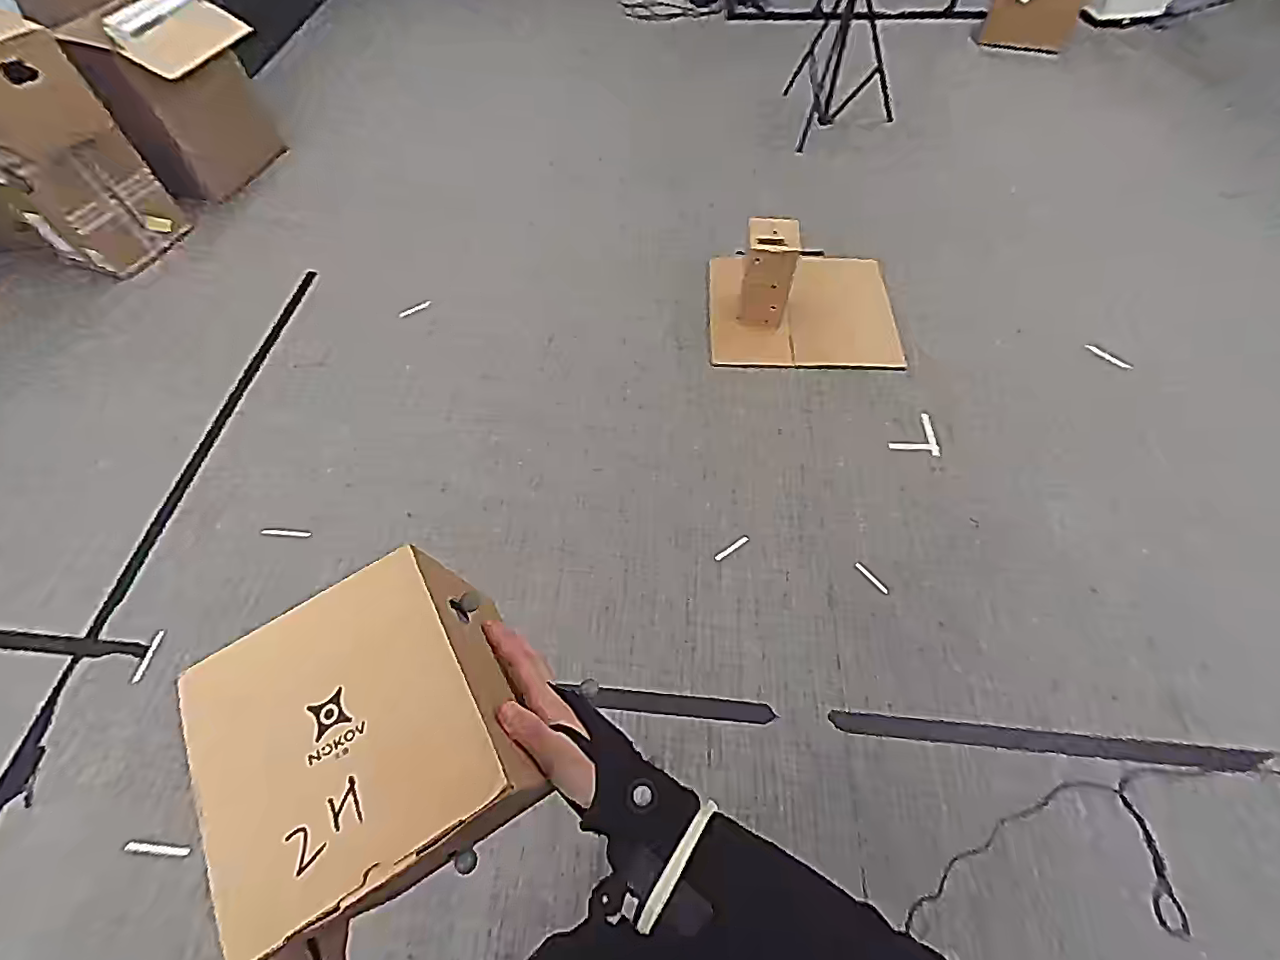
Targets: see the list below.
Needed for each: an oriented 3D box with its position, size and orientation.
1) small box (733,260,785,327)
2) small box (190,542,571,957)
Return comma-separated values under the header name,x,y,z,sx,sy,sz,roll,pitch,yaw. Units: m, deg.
name,x,y,z,sx,sy,sz,roll,pitch,yaw
small box,0.445,-0.701,2.035,0.168,0.176,0.179,6,58,3
small box,-0.171,0.180,0.396,0.168,0.176,0.179,-30,64,-8
